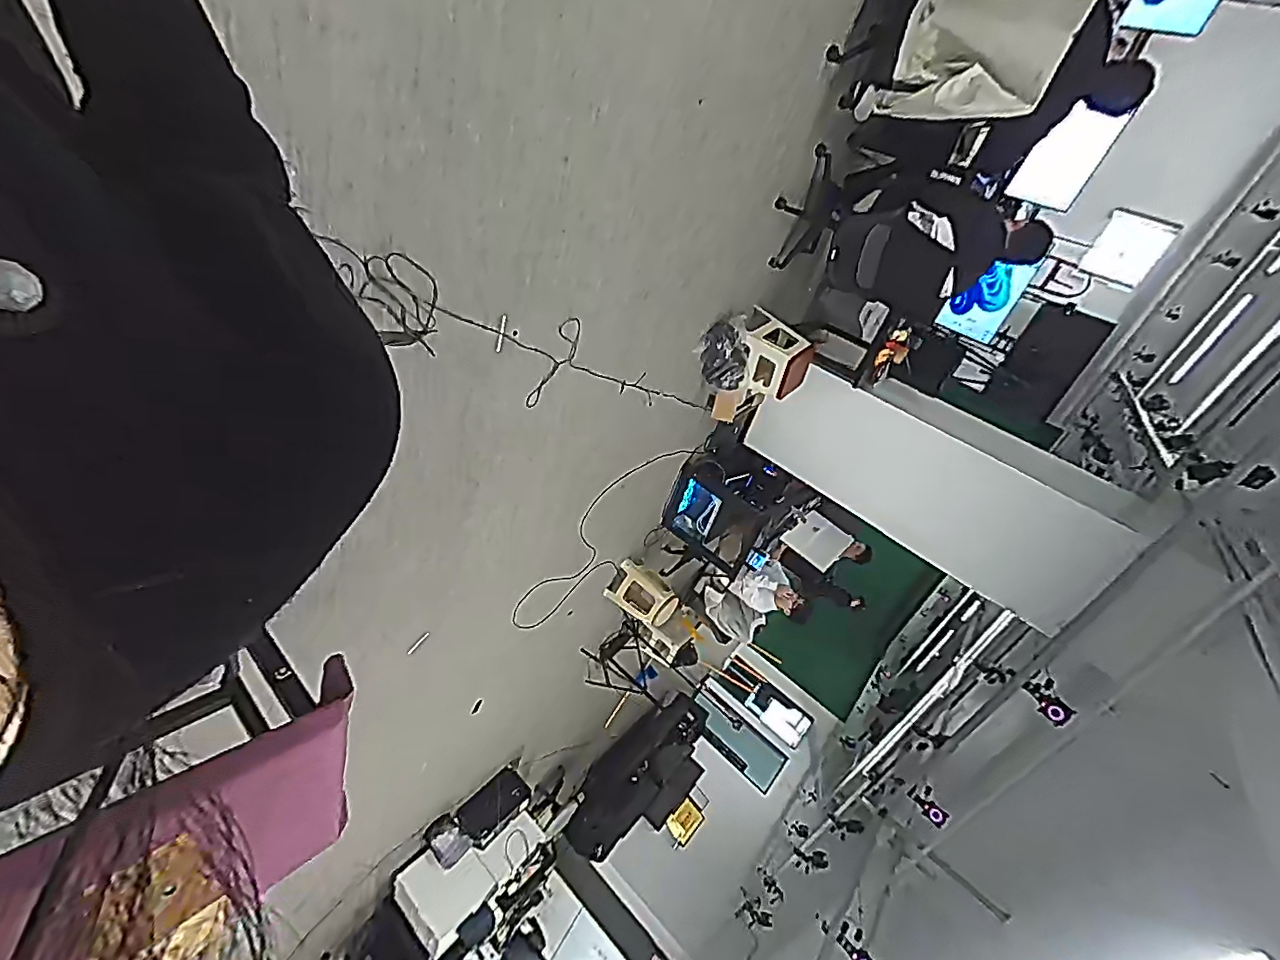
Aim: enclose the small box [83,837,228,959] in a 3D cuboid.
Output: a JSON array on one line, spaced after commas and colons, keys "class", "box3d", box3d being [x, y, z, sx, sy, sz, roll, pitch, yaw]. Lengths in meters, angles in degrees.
[{"class": "small box", "box3d": [-0.935, 0.844, 1.049, 0.168, 0.176, 0.179, -21, 140, -50]}]
